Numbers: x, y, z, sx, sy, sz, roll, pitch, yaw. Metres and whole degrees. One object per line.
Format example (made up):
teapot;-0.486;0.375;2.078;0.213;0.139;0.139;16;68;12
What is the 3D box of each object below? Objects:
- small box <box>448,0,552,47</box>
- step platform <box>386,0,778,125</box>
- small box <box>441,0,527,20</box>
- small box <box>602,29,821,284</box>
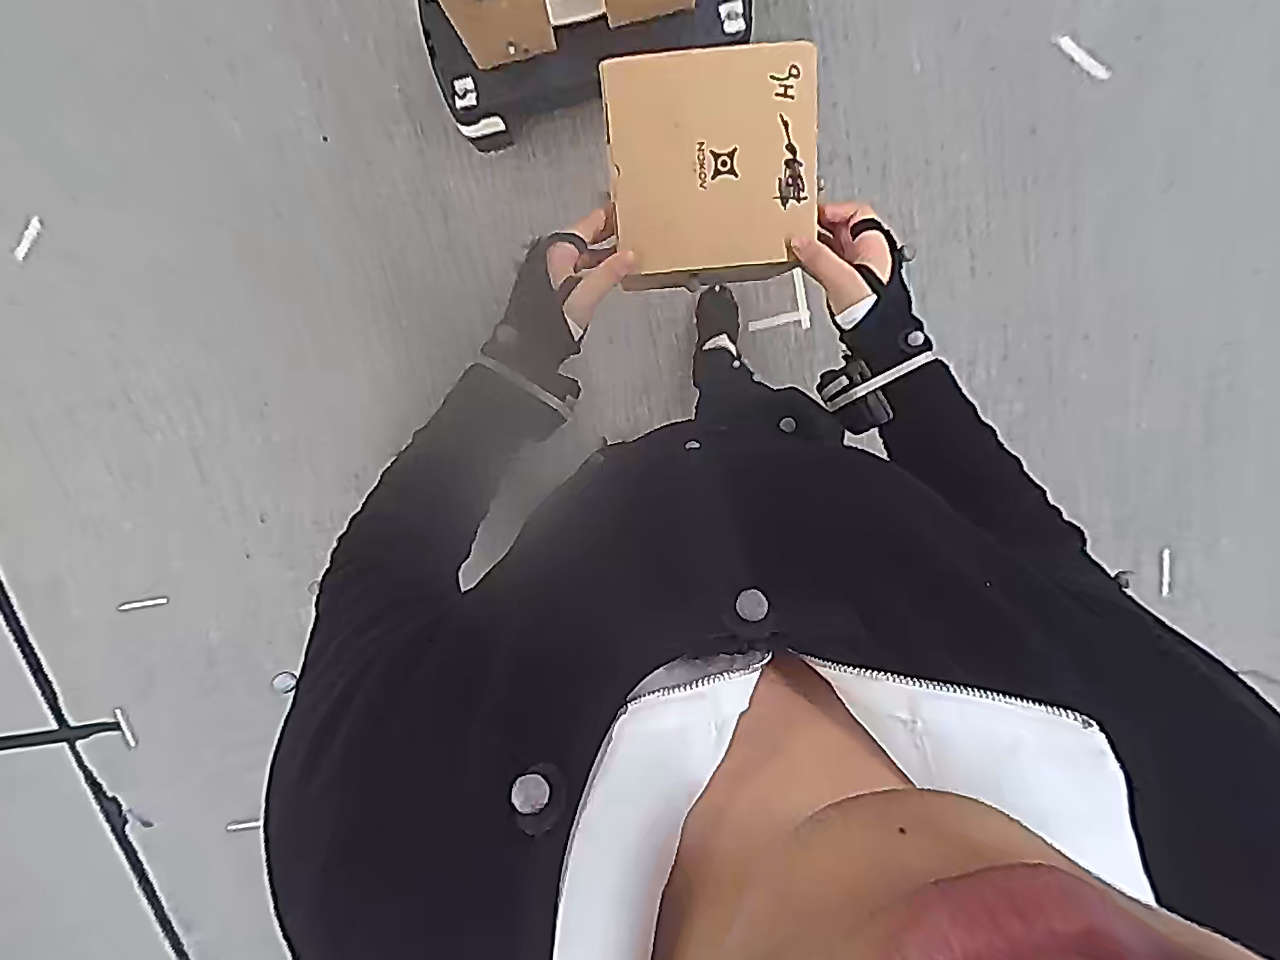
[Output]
small box;-0.269;-0.912;1.003;0.168;0.176;0.179;-12;102;4
step platform;-0.099;-0.893;0.967;0.684;0.204;0.286;-12;101;4
small box;-0.276;-0.882;0.841;0.168;0.176;0.179;-14;102;4
small box;0.062;-0.290;0.525;0.179;0.176;0.168;-4;104;1
